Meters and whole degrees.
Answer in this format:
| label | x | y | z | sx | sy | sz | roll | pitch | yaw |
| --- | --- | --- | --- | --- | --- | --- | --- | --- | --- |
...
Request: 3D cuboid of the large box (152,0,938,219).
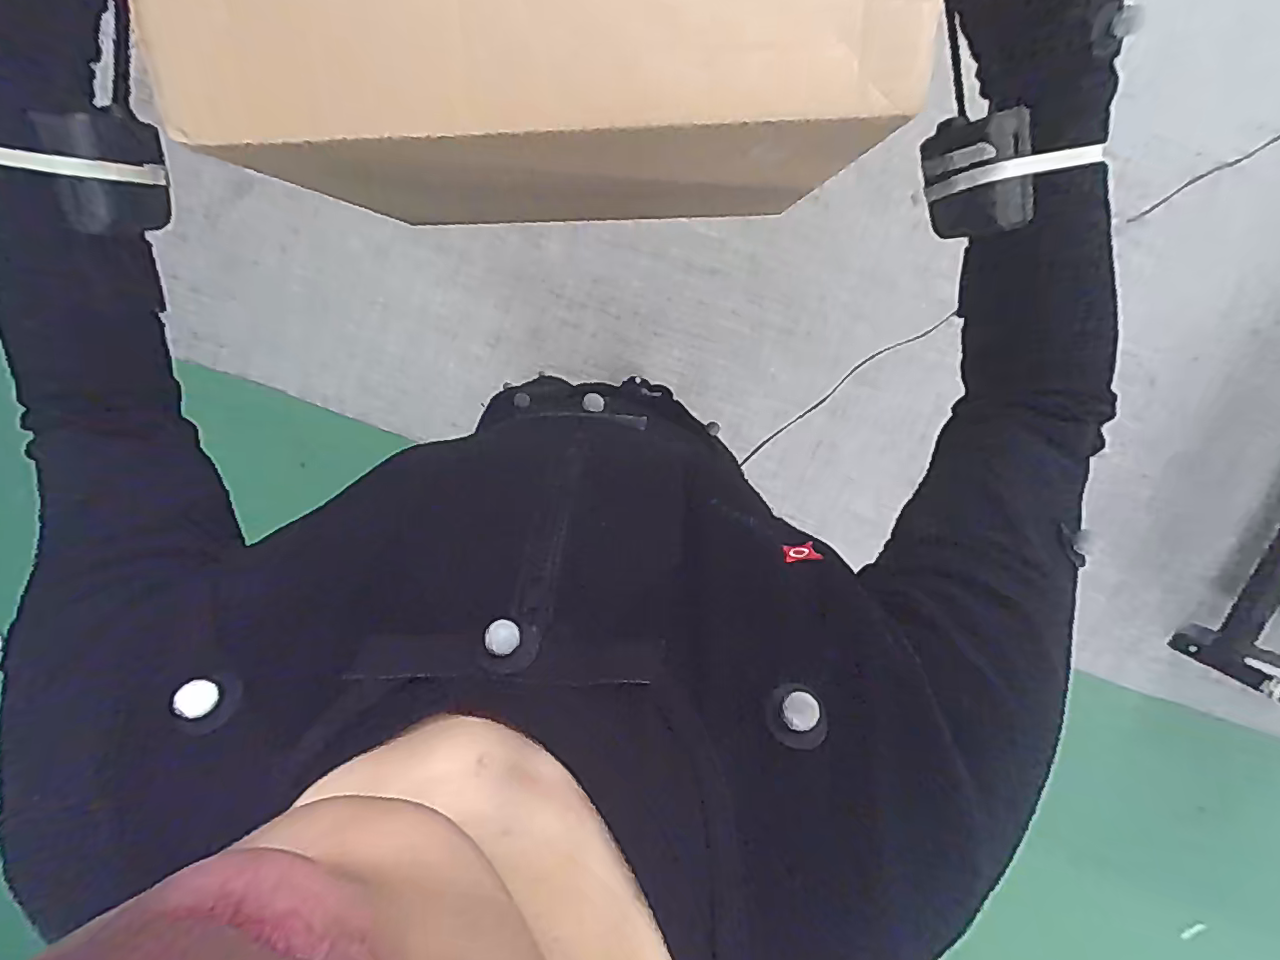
| label | x | y | z | sx | sy | sz | roll | pitch | yaw |
| --- | --- | --- | --- | --- | --- | --- | --- | --- | --- |
| large box | -0.054 | -0.386 | 0.384 | 0.408 | 0.320 | 0.320 | -2 | 109 | 0 |
